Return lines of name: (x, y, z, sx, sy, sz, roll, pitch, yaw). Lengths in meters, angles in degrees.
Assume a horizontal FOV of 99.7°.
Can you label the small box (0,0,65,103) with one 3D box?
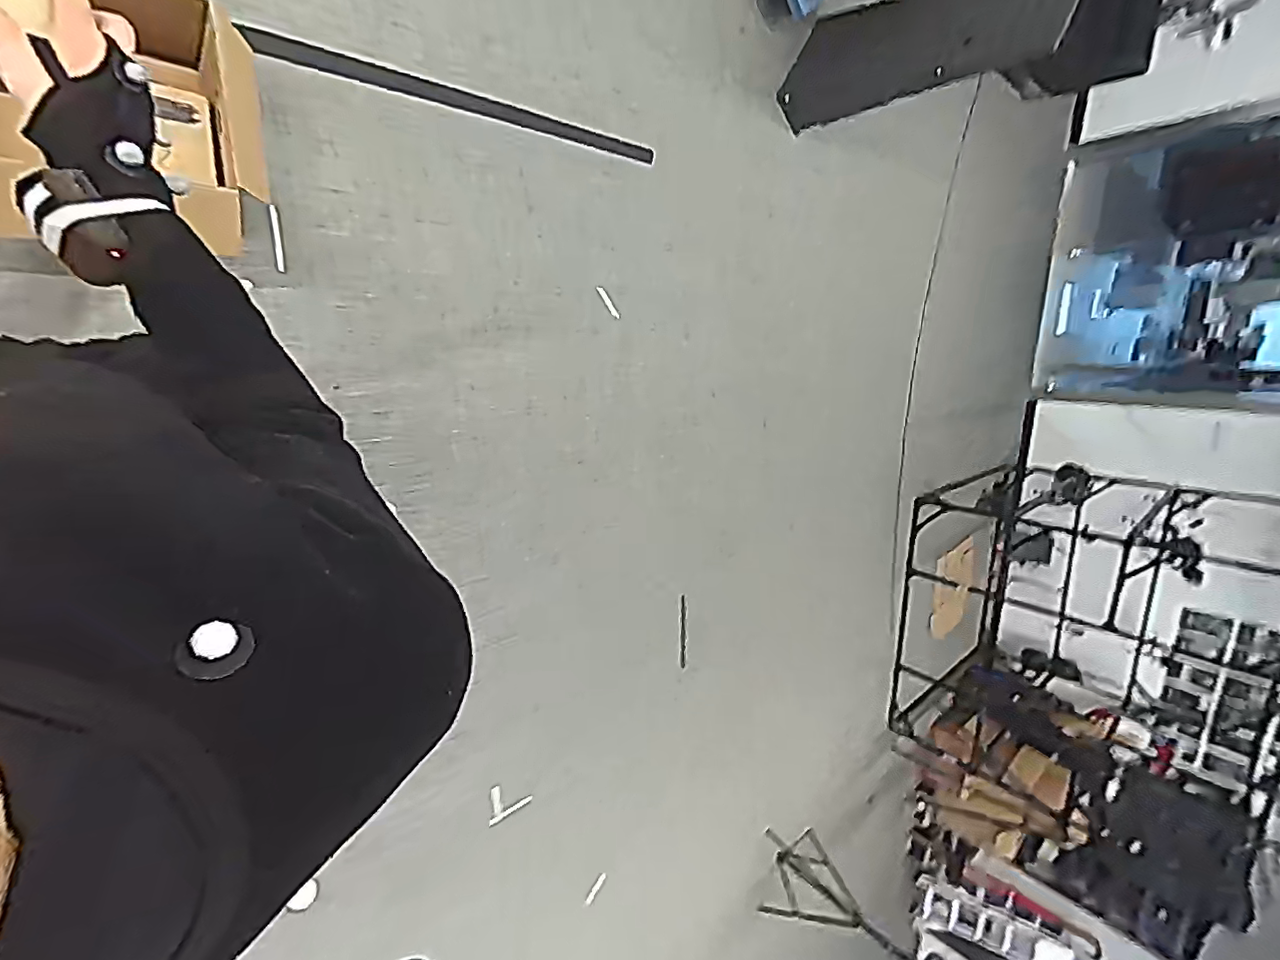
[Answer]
small box: (-0.545, -0.404, 0.380, 0.168, 0.176, 0.179, -12, 114, -47)
